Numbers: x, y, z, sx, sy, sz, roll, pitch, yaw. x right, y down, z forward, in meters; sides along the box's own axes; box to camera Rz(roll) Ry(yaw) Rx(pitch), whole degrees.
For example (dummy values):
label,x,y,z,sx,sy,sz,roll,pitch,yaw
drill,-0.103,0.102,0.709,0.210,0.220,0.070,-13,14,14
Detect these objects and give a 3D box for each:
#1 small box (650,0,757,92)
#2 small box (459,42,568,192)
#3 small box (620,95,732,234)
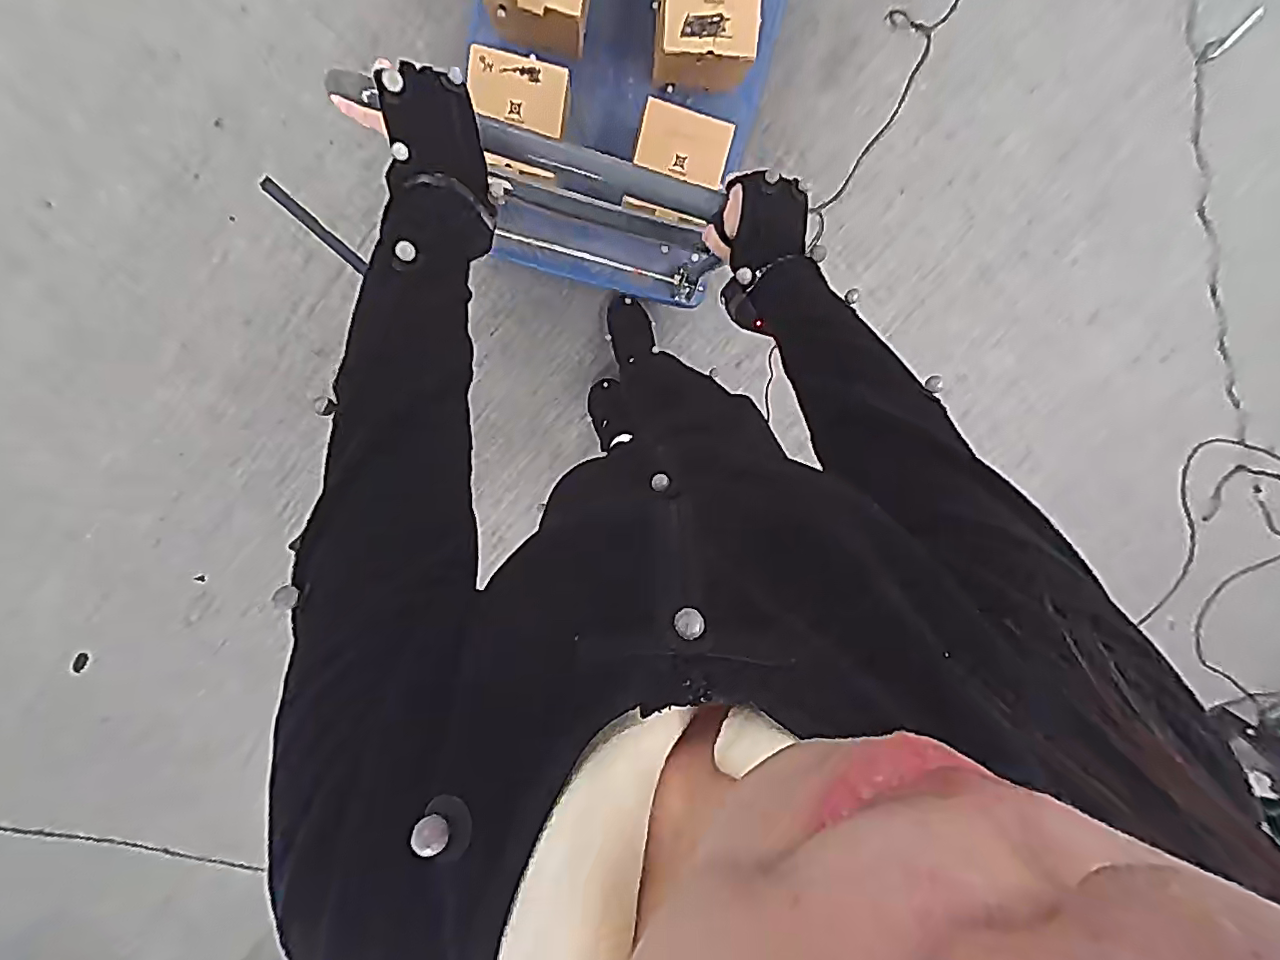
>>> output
label,x,y,z,sx,sy,sz,roll,pitch,yaw
small box,0.112,-0.843,0.987,0.168,0.176,0.179,1,106,-7
small box,-0.228,-0.658,1.007,0.168,0.176,0.179,9,107,-10
small box,0.059,-0.600,1.058,0.168,0.176,0.179,13,105,-11
